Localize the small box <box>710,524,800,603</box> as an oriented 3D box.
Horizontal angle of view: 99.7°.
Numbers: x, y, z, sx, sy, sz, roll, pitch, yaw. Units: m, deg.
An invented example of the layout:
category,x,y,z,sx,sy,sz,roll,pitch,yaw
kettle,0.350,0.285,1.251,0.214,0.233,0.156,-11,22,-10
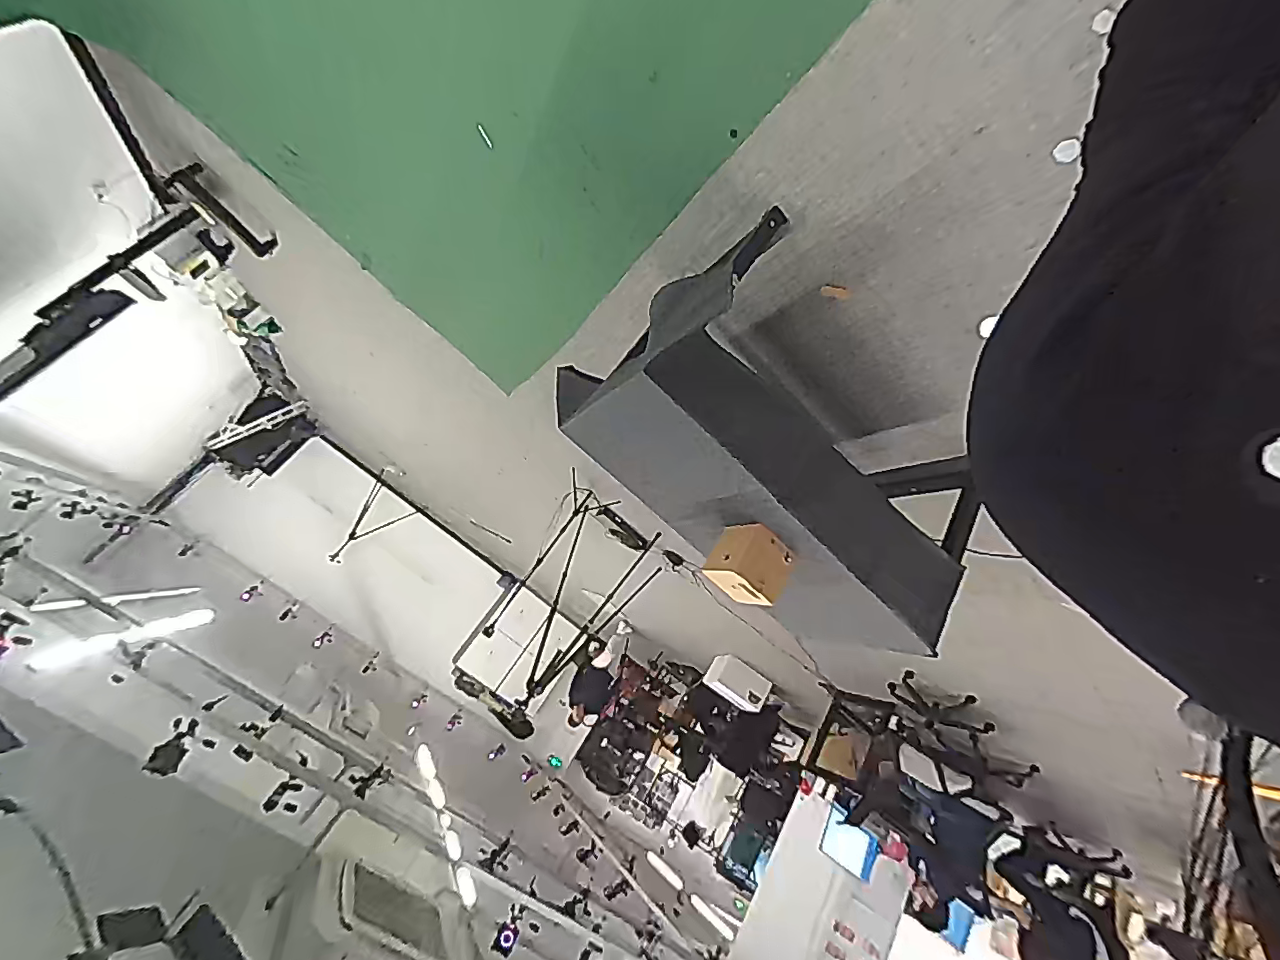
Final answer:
category,x,y,z,sx,sy,sz,roll,pitch,yaw
small box,0.344,0.241,1.587,0.168,0.176,0.179,42,157,-15
